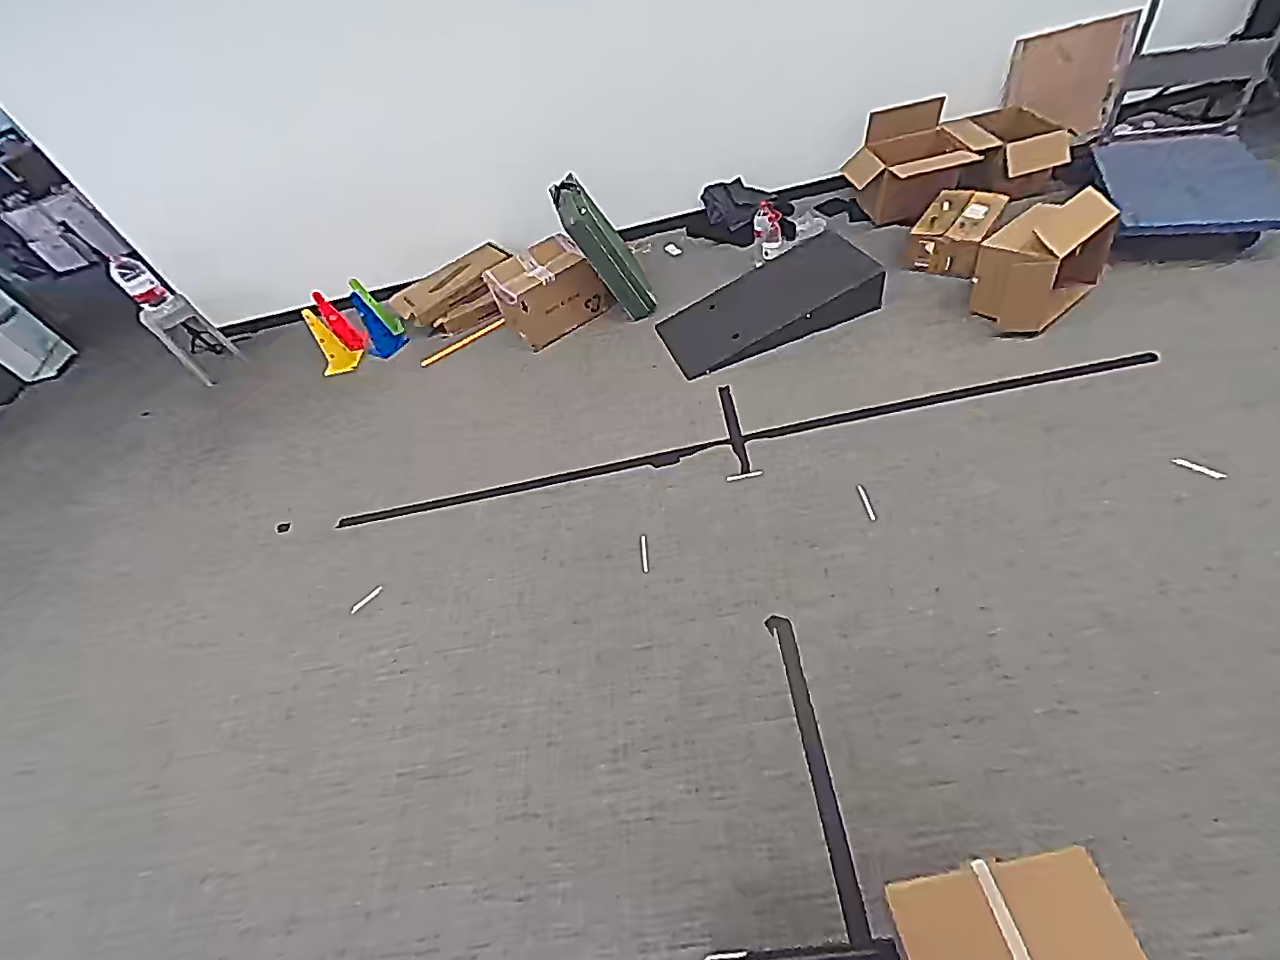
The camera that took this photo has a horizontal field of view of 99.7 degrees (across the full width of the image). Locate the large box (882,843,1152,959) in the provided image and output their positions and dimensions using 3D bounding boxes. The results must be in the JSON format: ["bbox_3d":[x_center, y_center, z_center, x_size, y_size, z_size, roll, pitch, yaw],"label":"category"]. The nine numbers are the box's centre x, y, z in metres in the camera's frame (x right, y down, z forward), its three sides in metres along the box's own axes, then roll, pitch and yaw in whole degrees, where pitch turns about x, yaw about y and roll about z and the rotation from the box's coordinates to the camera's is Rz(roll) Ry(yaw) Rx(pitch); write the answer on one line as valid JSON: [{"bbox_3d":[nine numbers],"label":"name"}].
[{"bbox_3d":[0.622,0.847,0.847,0.320,0.320,0.408,-19,49,8],"label":"large box"}]
